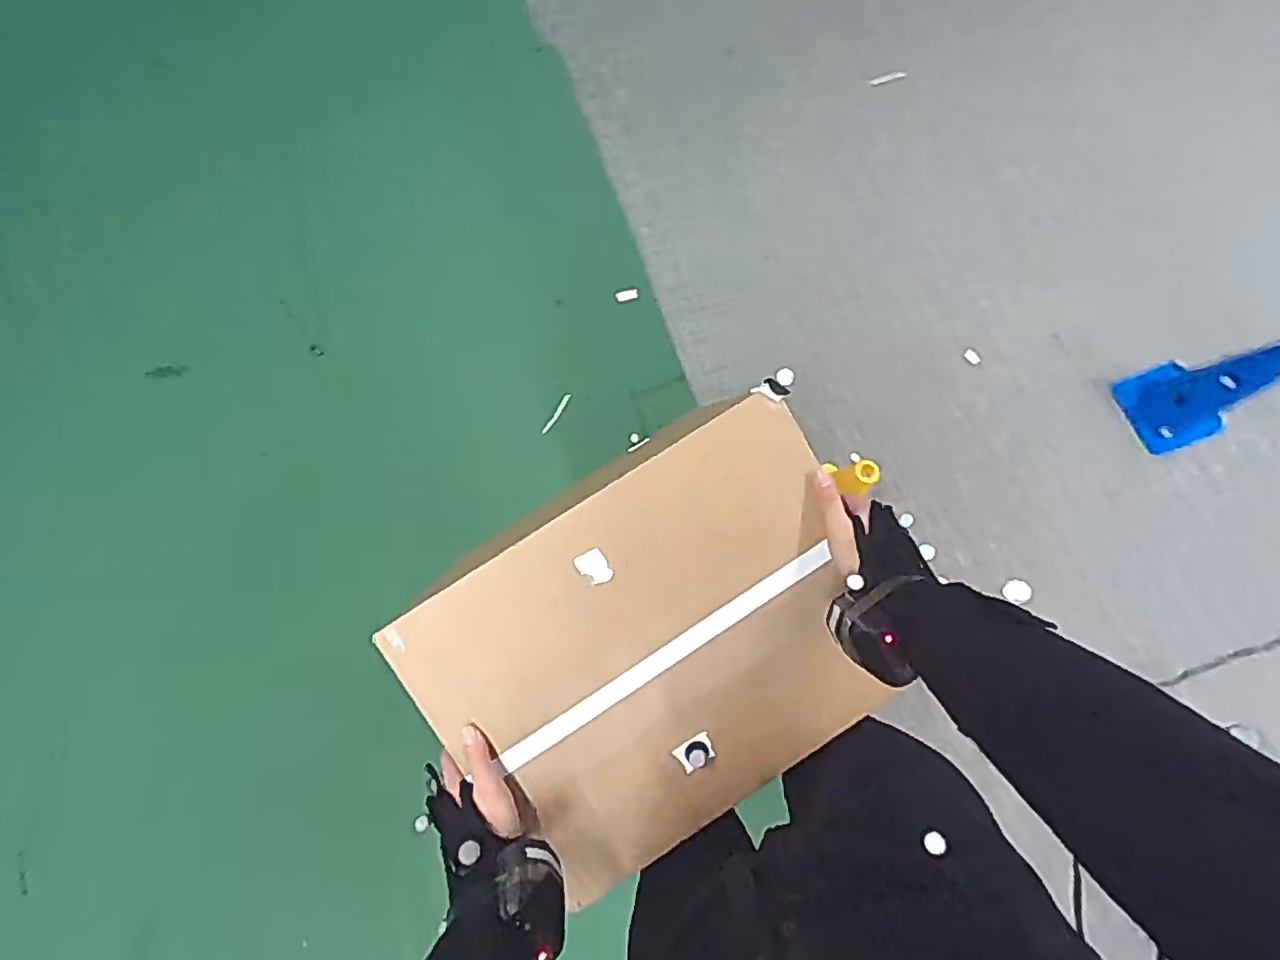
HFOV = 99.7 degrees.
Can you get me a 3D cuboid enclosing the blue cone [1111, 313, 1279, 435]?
[{"bbox_3d":[1.237,-0.253,1.126,0.193,0.380,0.192,-19,74,-3],"label":"blue cone"}]
